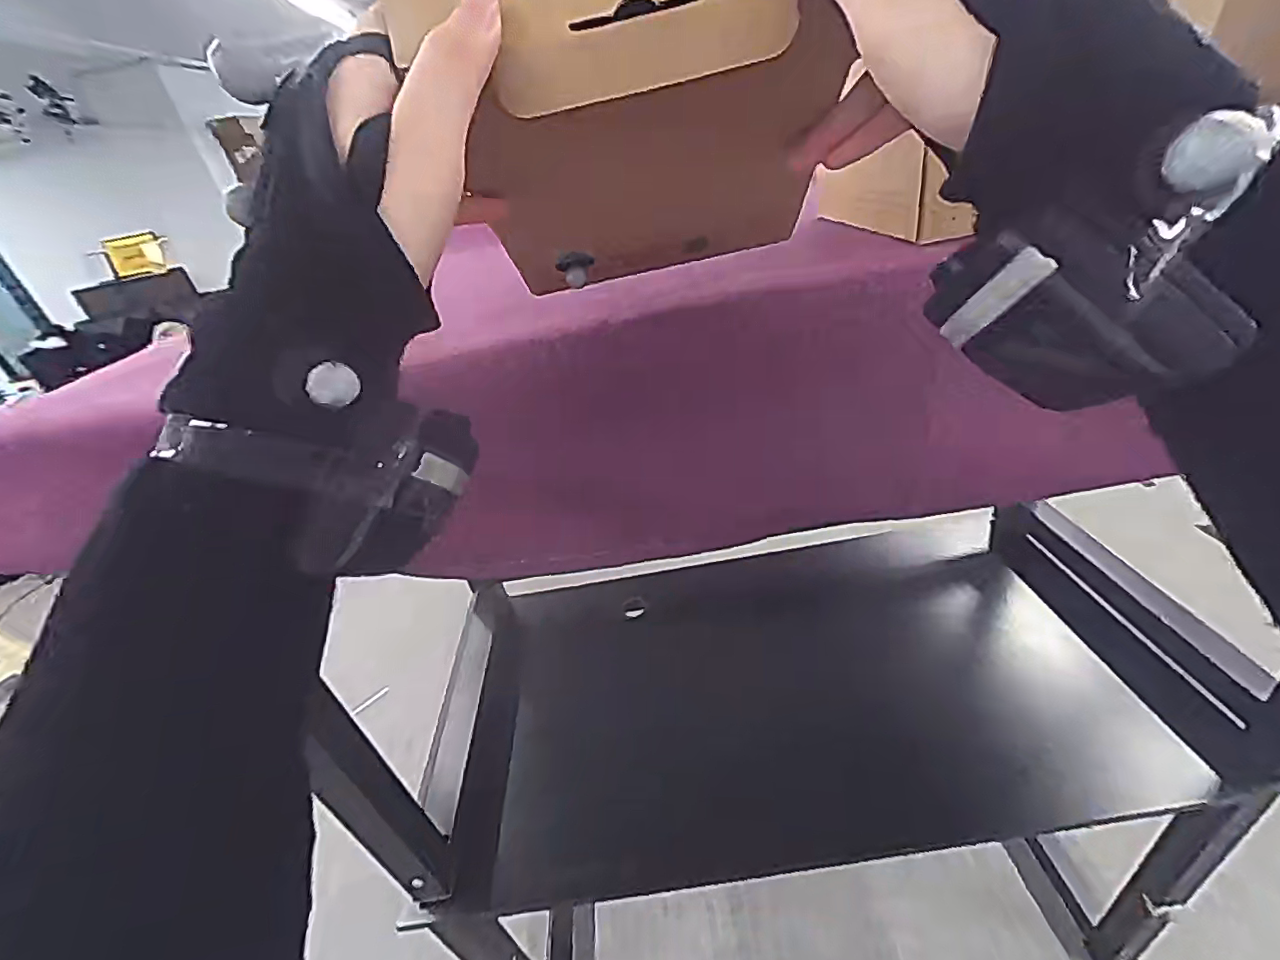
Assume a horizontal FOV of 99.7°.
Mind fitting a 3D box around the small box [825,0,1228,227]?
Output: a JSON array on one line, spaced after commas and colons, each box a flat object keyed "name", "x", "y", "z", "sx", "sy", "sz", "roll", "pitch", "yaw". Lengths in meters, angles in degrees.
[{"name": "small box", "x": 0.233, "y": -0.281, "z": 0.367, "sx": 0.168, "sy": 0.176, "sz": 0.179, "roll": -12, "pitch": 32, "yaw": 1}]

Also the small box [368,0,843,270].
[{"name": "small box", "x": -0.013, "y": -0.223, "z": 0.257, "sx": 0.168, "sy": 0.179, "sz": 0.176, "roll": -12, "pitch": -9, "yaw": 3}]
